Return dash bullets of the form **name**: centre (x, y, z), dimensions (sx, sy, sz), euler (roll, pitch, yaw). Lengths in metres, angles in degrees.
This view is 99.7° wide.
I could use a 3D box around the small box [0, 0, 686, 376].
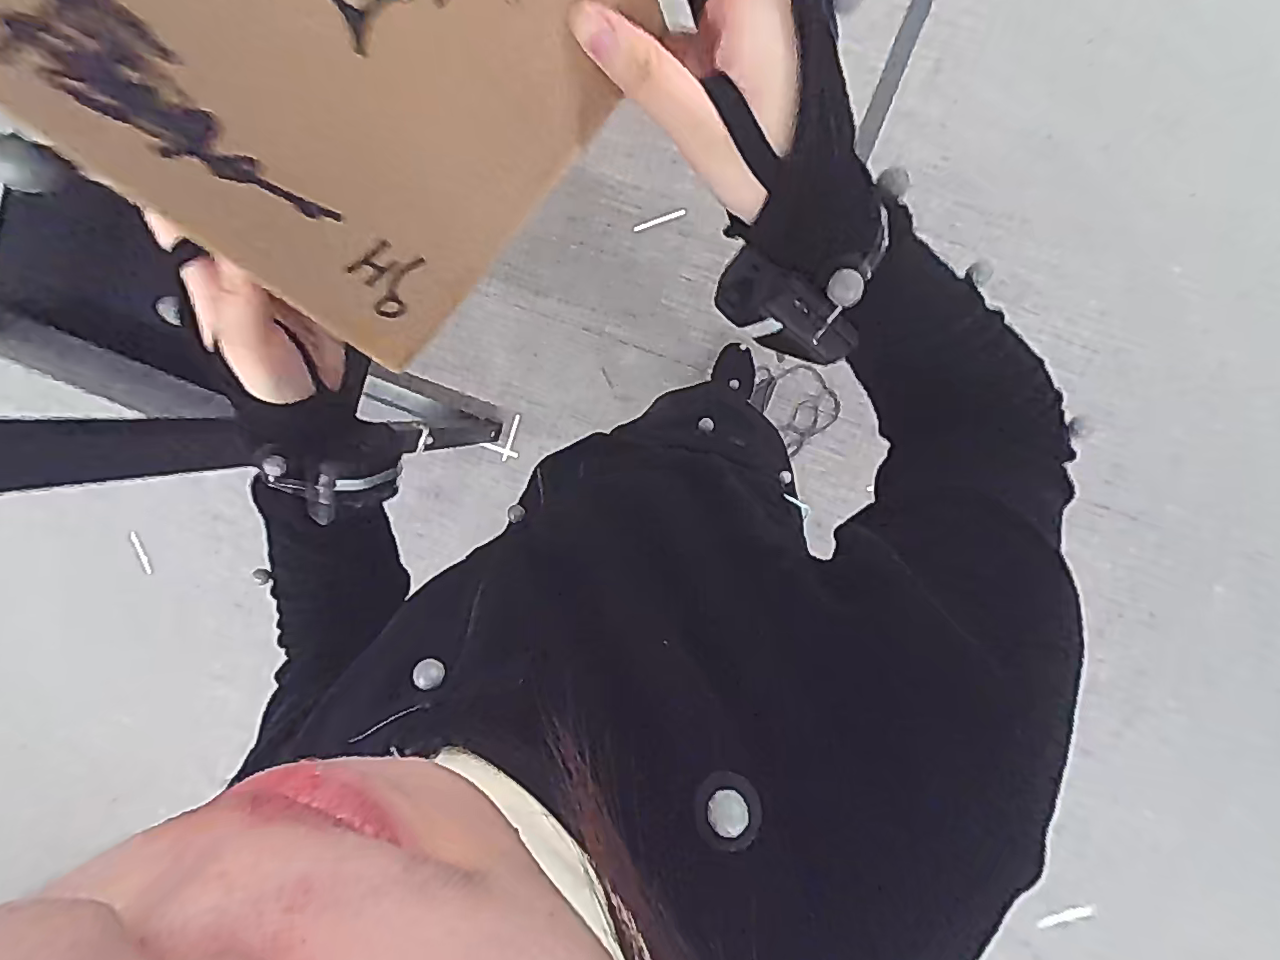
- **small box**: centre (-0.117, -0.174, 0.180), dimensions (0.176, 0.168, 0.179), euler (35, 84, 29)
